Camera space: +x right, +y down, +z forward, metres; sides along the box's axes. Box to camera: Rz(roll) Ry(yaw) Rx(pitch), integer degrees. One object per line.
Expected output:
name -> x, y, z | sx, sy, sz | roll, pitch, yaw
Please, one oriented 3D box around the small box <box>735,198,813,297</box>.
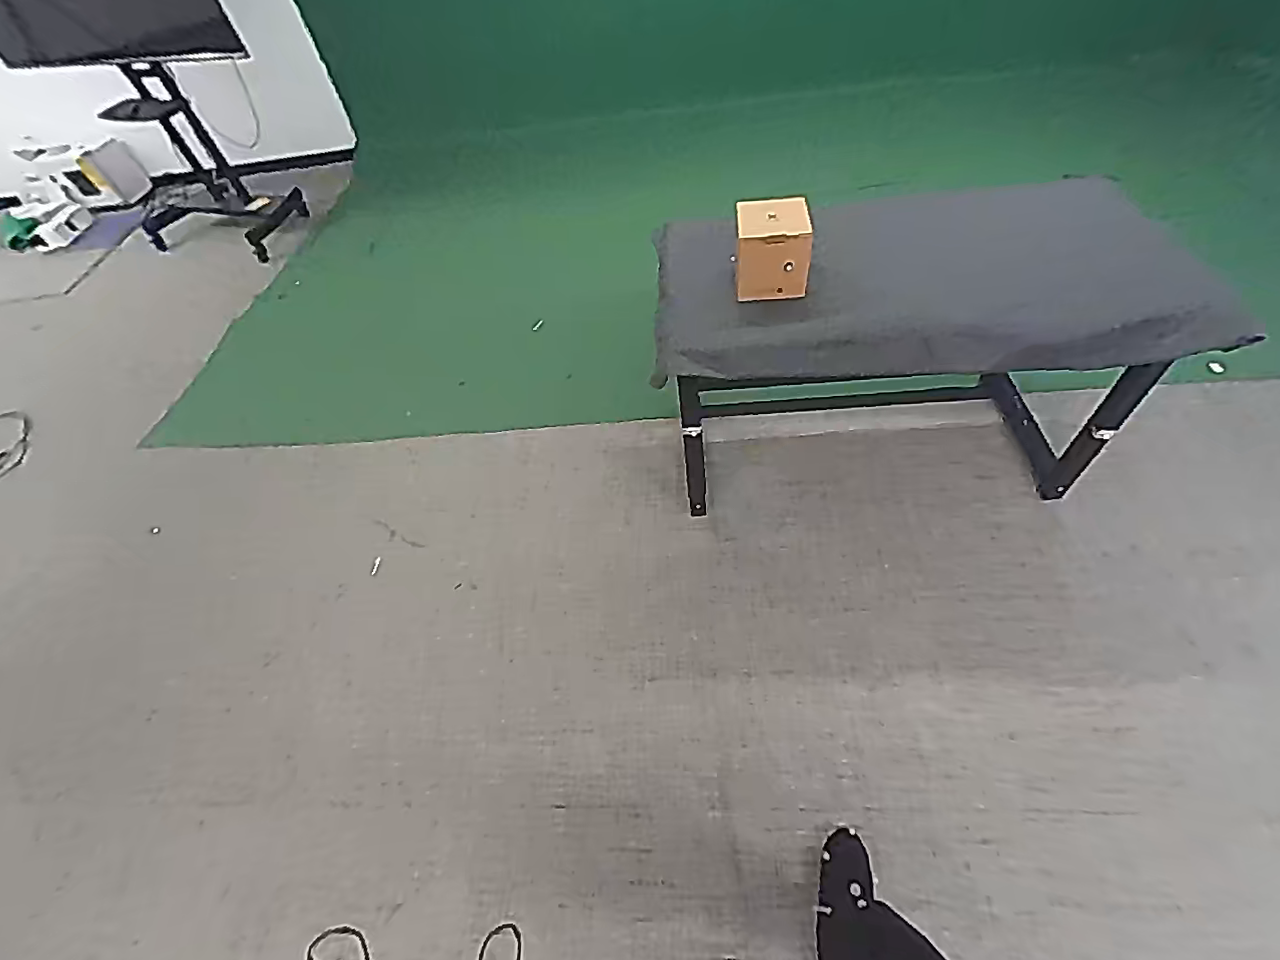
small box -> 0.325, -0.571, 1.340 | 0.168, 0.176, 0.179 | 0, 52, 6
